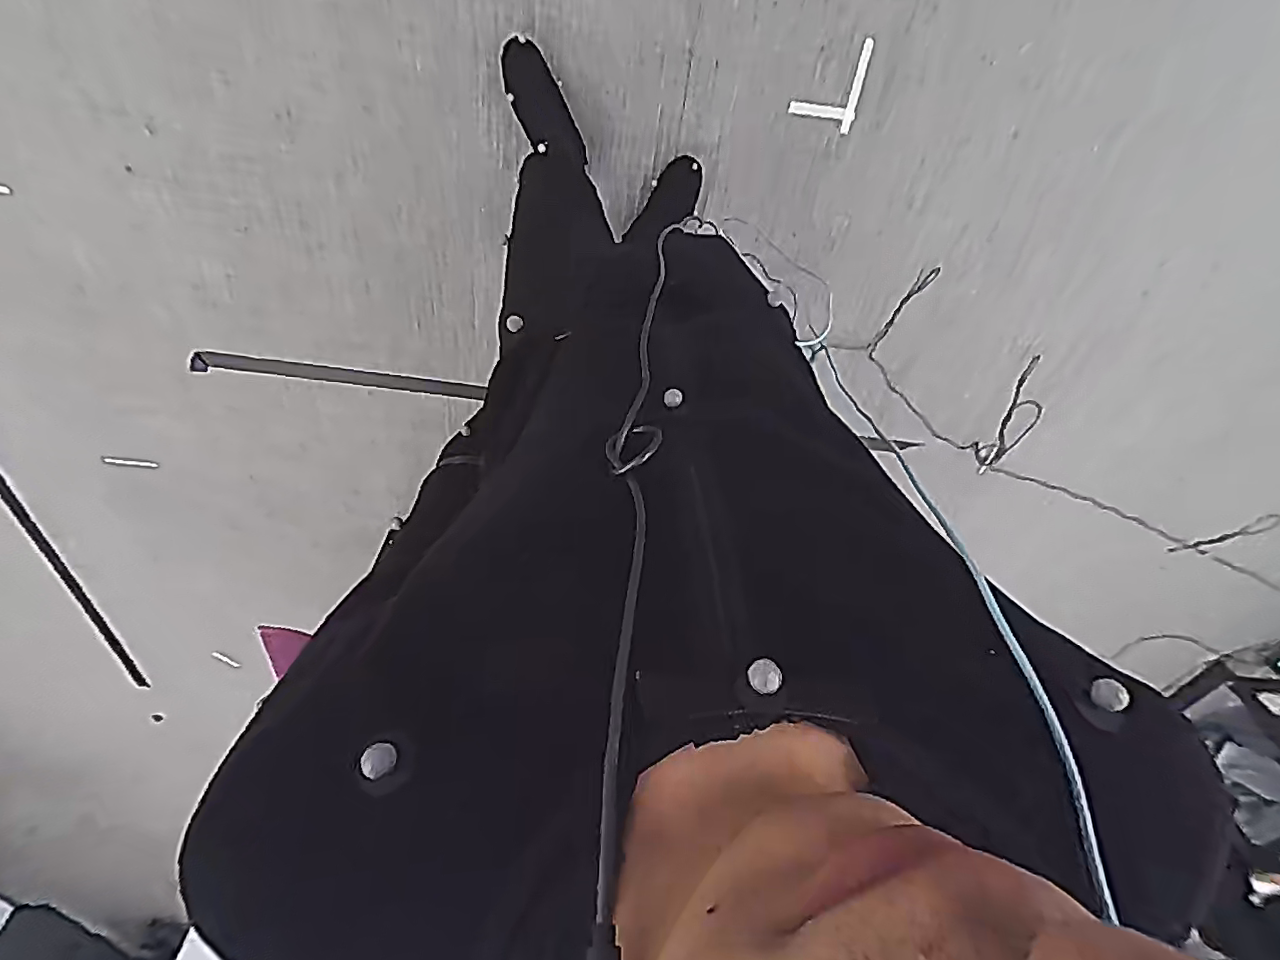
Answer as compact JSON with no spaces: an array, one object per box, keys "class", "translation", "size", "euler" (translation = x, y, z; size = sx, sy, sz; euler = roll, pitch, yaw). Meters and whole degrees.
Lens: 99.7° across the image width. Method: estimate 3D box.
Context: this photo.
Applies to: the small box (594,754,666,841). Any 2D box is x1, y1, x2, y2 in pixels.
[{"class":"small box","translation":[-0.032,0.911,1.555],"size":[0.179,0.176,0.168],"euler":[8,127,-9]}]
